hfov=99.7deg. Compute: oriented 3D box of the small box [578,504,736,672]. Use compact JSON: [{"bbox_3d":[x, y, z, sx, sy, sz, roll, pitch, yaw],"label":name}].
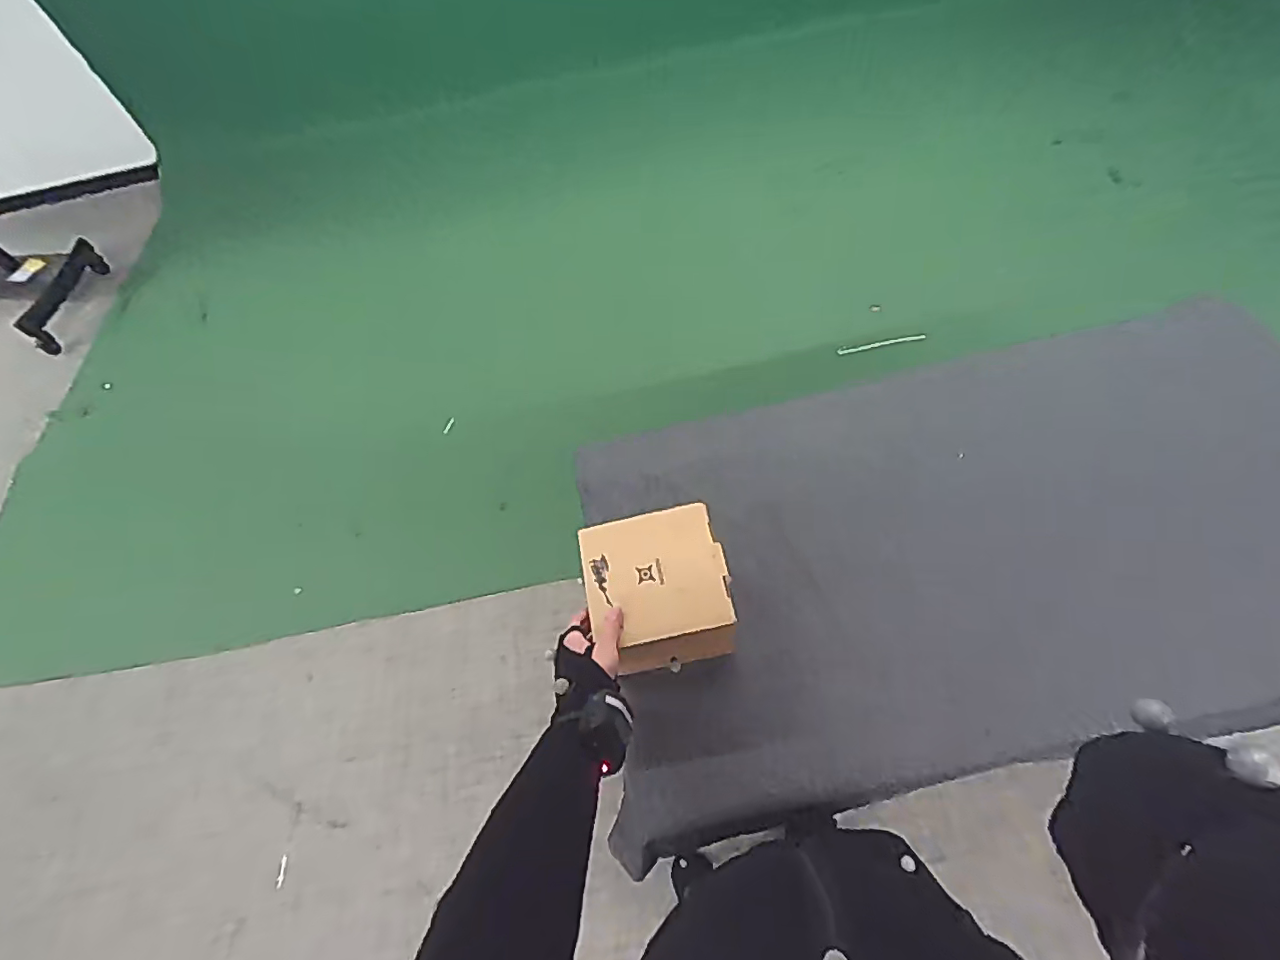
[{"bbox_3d":[0.023,0.155,0.744,0.179,0.176,0.168,-12,61,1],"label":"small box"}]
